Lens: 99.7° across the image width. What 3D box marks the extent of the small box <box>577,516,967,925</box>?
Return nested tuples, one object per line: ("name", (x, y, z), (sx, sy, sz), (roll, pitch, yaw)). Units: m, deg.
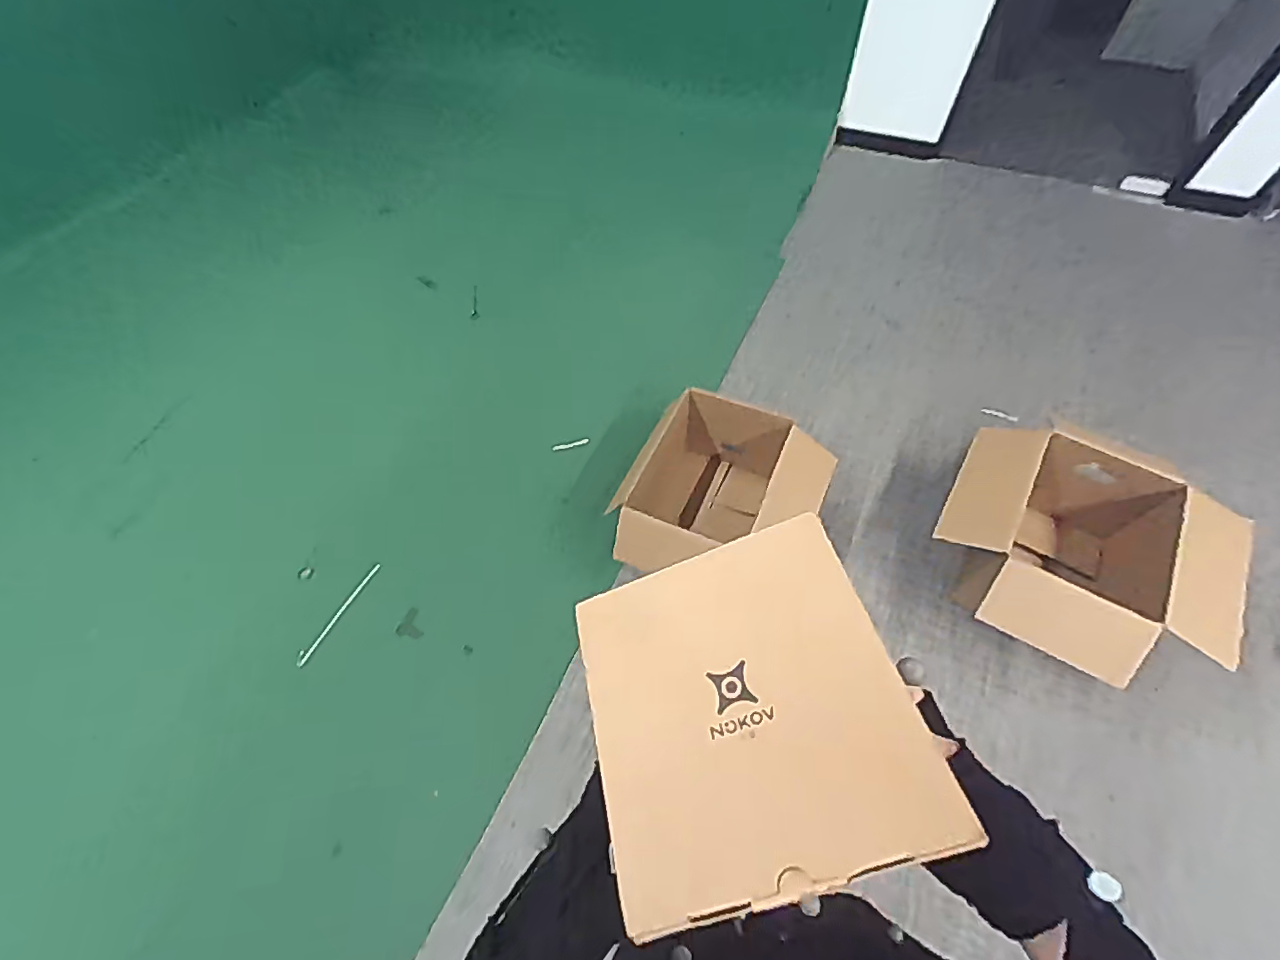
("small box", (0.078, 0.158, 0.357), (0.168, 0.176, 0.179), (-24, 52, 10))
